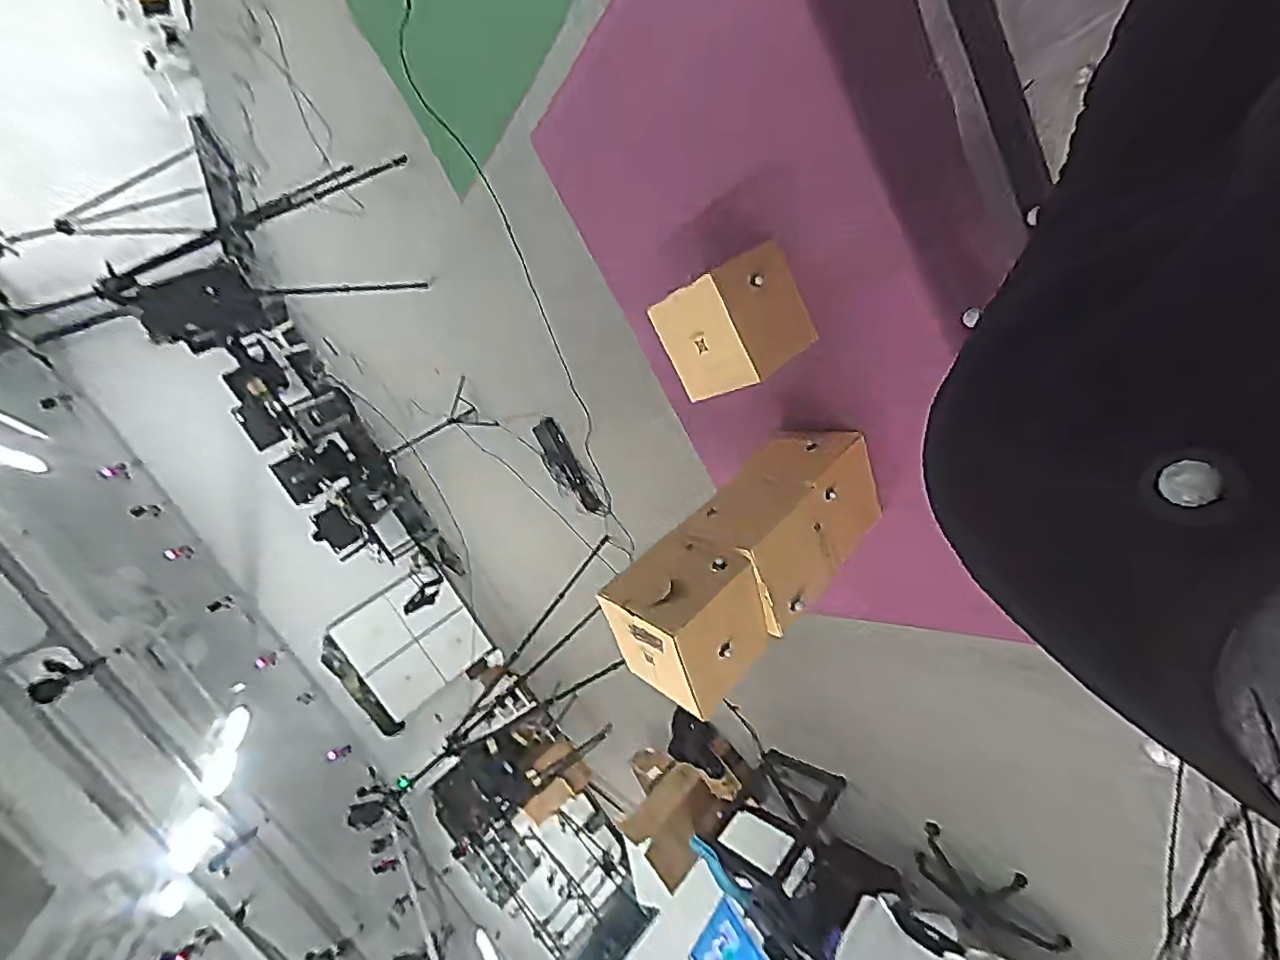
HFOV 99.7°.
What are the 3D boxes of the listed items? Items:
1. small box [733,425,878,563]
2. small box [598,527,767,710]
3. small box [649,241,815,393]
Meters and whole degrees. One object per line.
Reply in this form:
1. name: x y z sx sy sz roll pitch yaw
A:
1. small box: 0.302 0.018 0.970 0.168 0.176 0.179 7 125 51
2. small box: 0.070 0.196 0.819 0.168 0.176 0.179 16 133 47
3. small box: 0.153 -0.269 0.887 0.168 0.176 0.179 -6 116 57
